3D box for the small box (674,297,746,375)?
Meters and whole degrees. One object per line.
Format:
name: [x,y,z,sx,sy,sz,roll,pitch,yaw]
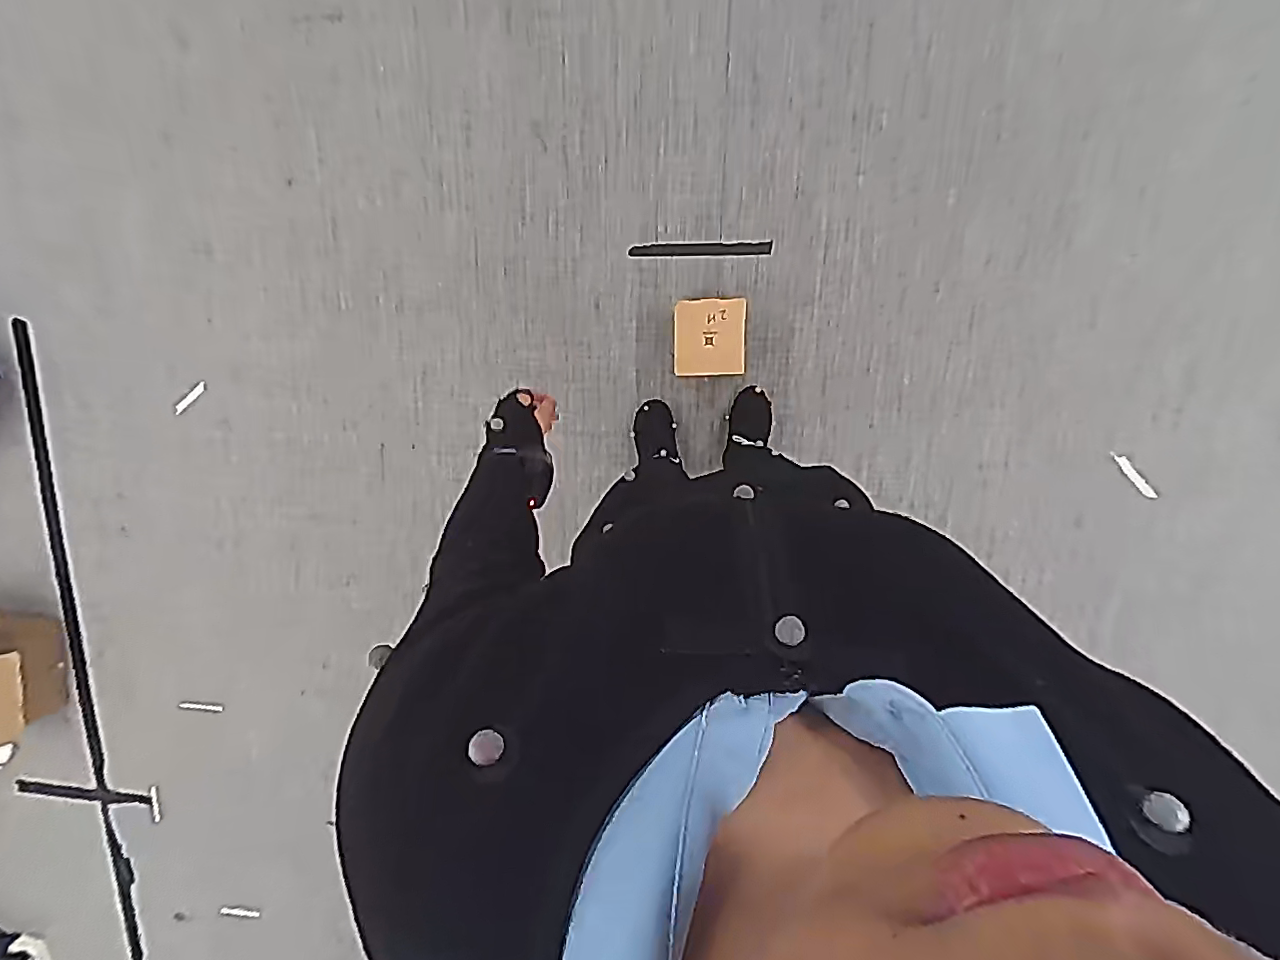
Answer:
small box: [0.171,-0.351,1.337,0.168,0.176,0.179,1,100,5]
